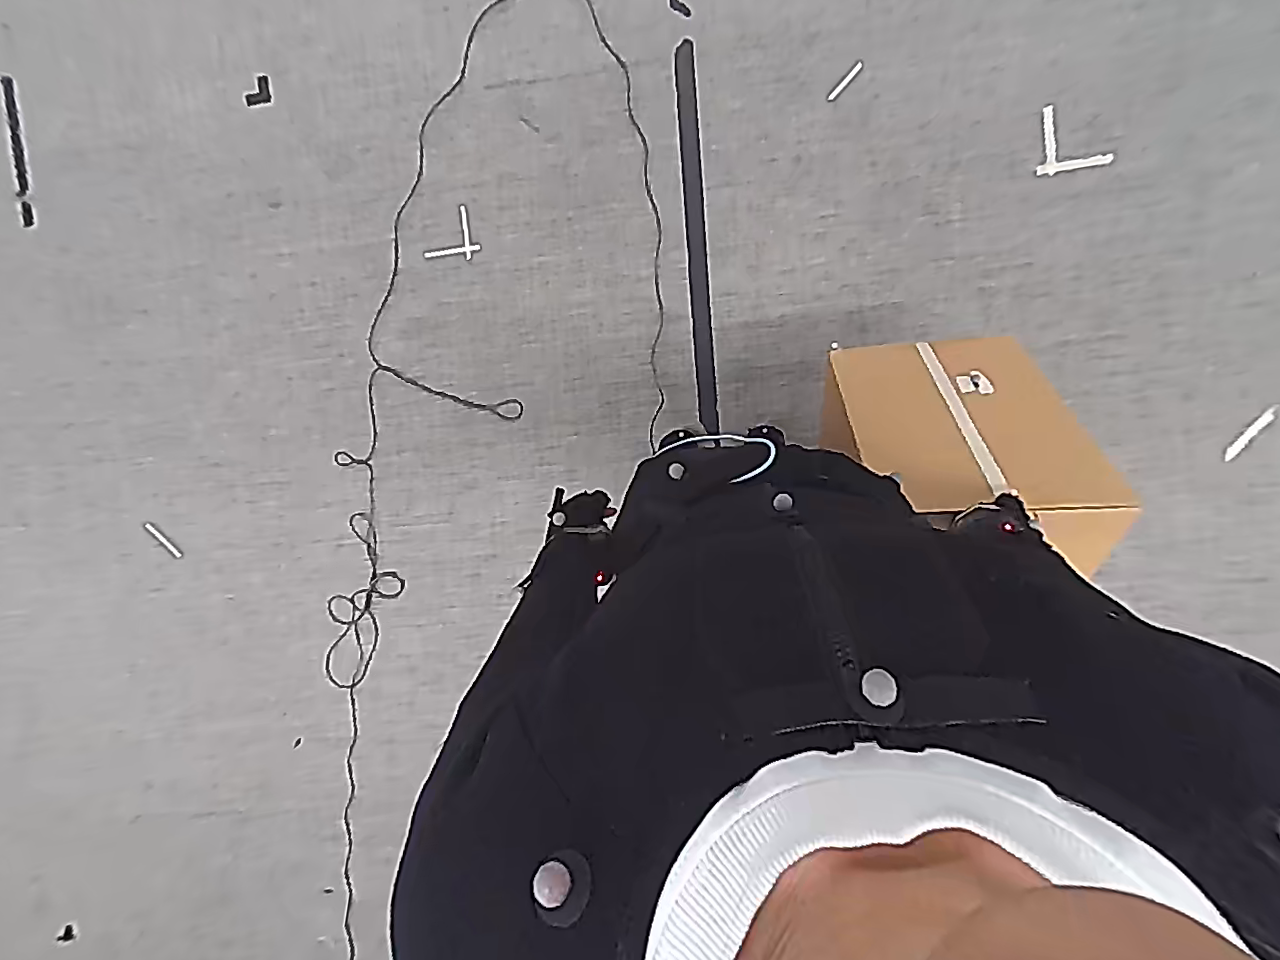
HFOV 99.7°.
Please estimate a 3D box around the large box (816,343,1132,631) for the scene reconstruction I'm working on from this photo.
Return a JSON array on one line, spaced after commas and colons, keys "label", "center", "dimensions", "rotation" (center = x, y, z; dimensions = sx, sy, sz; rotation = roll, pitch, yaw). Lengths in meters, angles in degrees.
[{"label": "large box", "center": [0.507, 0.008, 0.945], "dimensions": [0.320, 0.408, 0.320], "rotation": [-2, 134, 8]}]
